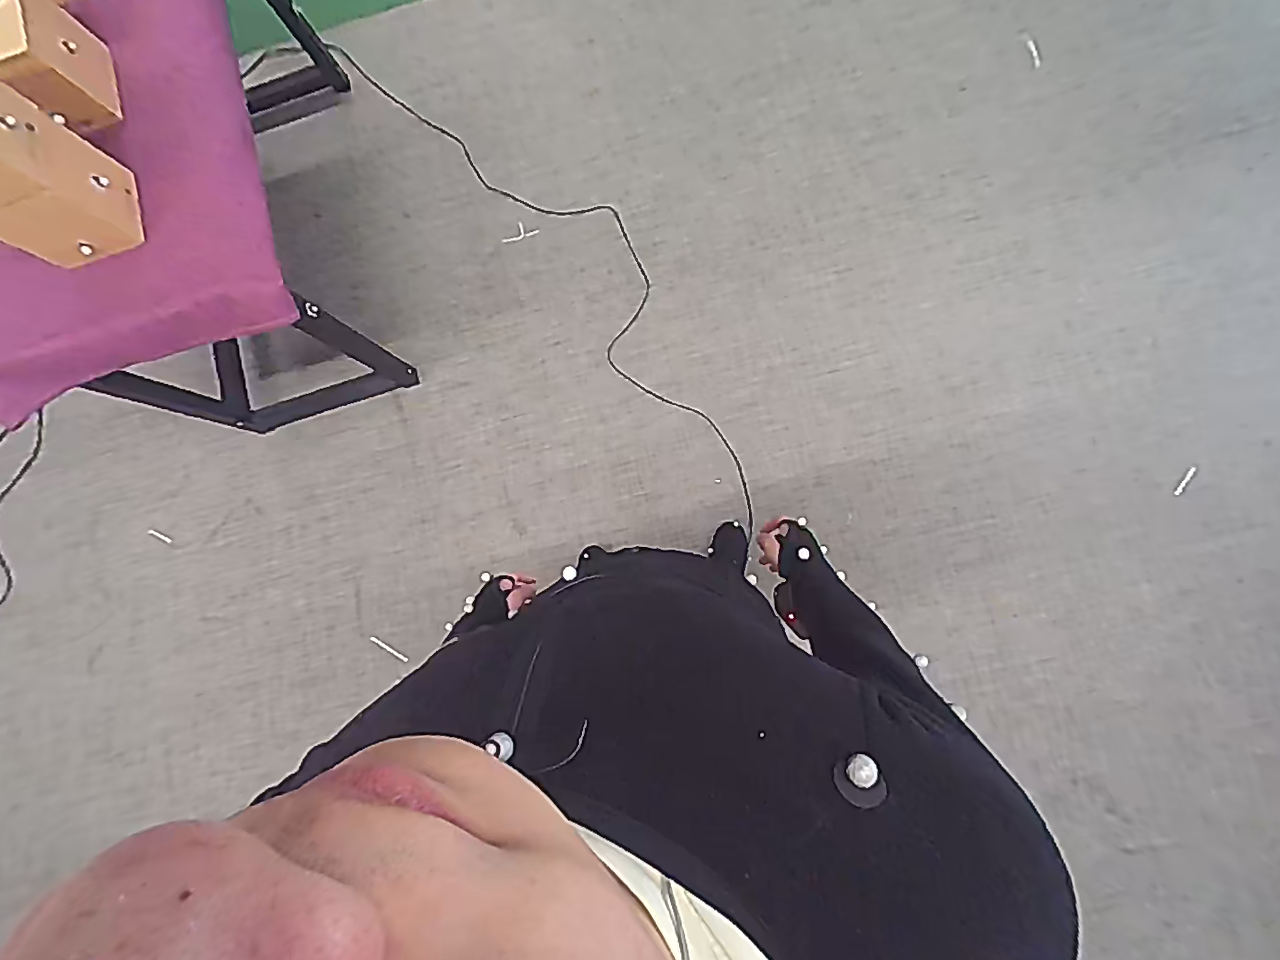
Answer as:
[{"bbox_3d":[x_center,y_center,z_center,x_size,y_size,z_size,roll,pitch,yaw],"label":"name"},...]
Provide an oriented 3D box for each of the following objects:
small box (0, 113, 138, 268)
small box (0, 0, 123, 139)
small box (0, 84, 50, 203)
[{"bbox_3d":[-1.096,-0.531,1.014,0.179,0.176,0.168,-17,81,2],"label":"small box"},{"bbox_3d":[-1.173,-0.809,1.053,0.168,0.176,0.179,-17,83,3],"label":"small box"},{"bbox_3d":[-1.108,-0.553,0.851,0.179,0.176,0.168,-17,83,2],"label":"small box"}]
